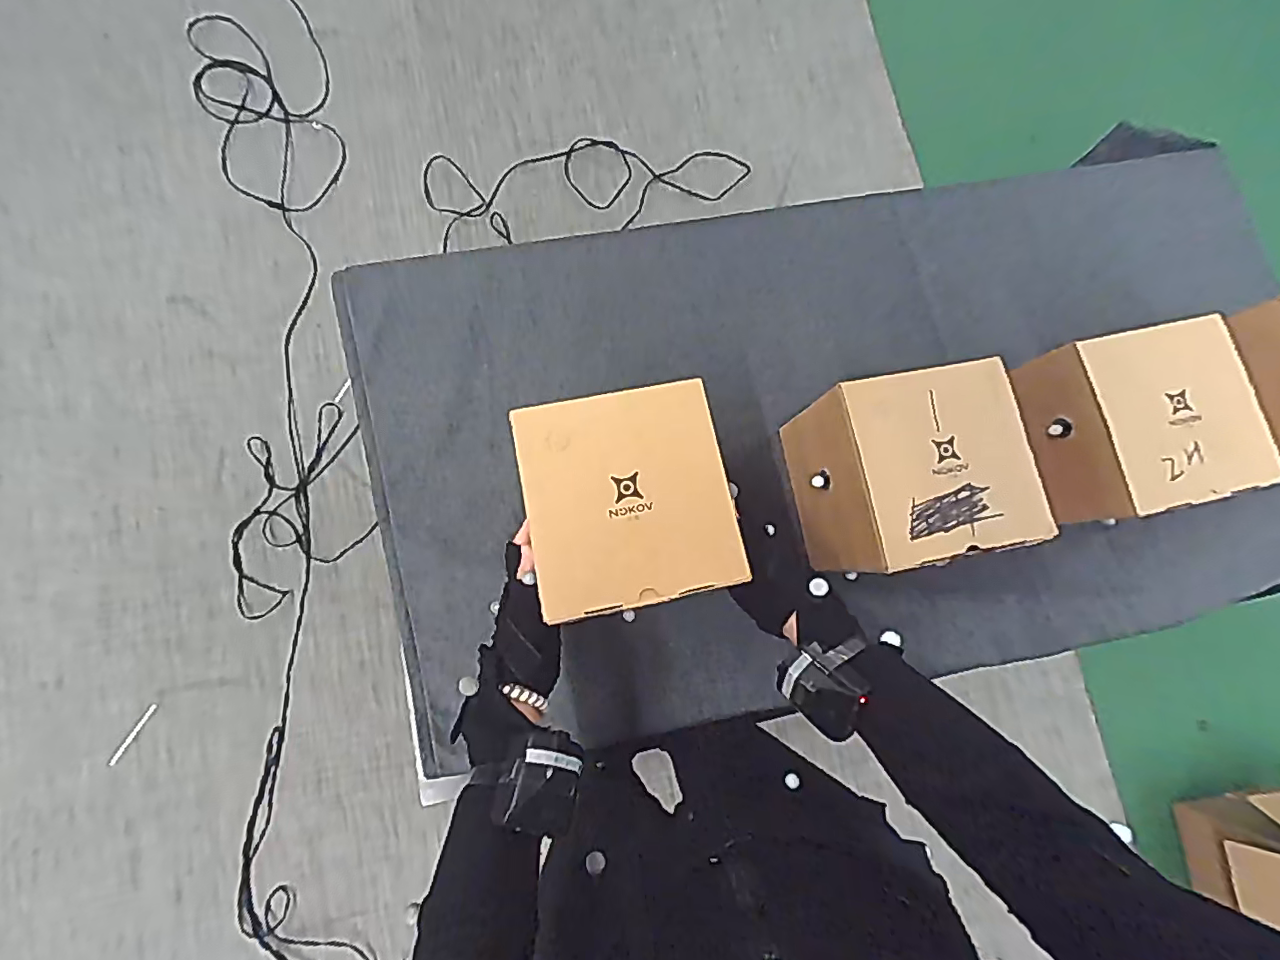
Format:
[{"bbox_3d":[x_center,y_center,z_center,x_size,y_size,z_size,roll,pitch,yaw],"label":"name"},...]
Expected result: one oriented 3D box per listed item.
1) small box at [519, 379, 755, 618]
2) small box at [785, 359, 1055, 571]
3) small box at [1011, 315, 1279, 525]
[{"bbox_3d":[-0.012,0.028,0.511,0.168,0.176,0.179,-11,78,-7],"label":"small box"},{"bbox_3d":[0.271,-0.005,0.566,0.168,0.176,0.179,-10,81,-7],"label":"small box"},{"bbox_3d":[0.508,-0.052,0.593,0.168,0.176,0.179,-12,81,-6],"label":"small box"}]
